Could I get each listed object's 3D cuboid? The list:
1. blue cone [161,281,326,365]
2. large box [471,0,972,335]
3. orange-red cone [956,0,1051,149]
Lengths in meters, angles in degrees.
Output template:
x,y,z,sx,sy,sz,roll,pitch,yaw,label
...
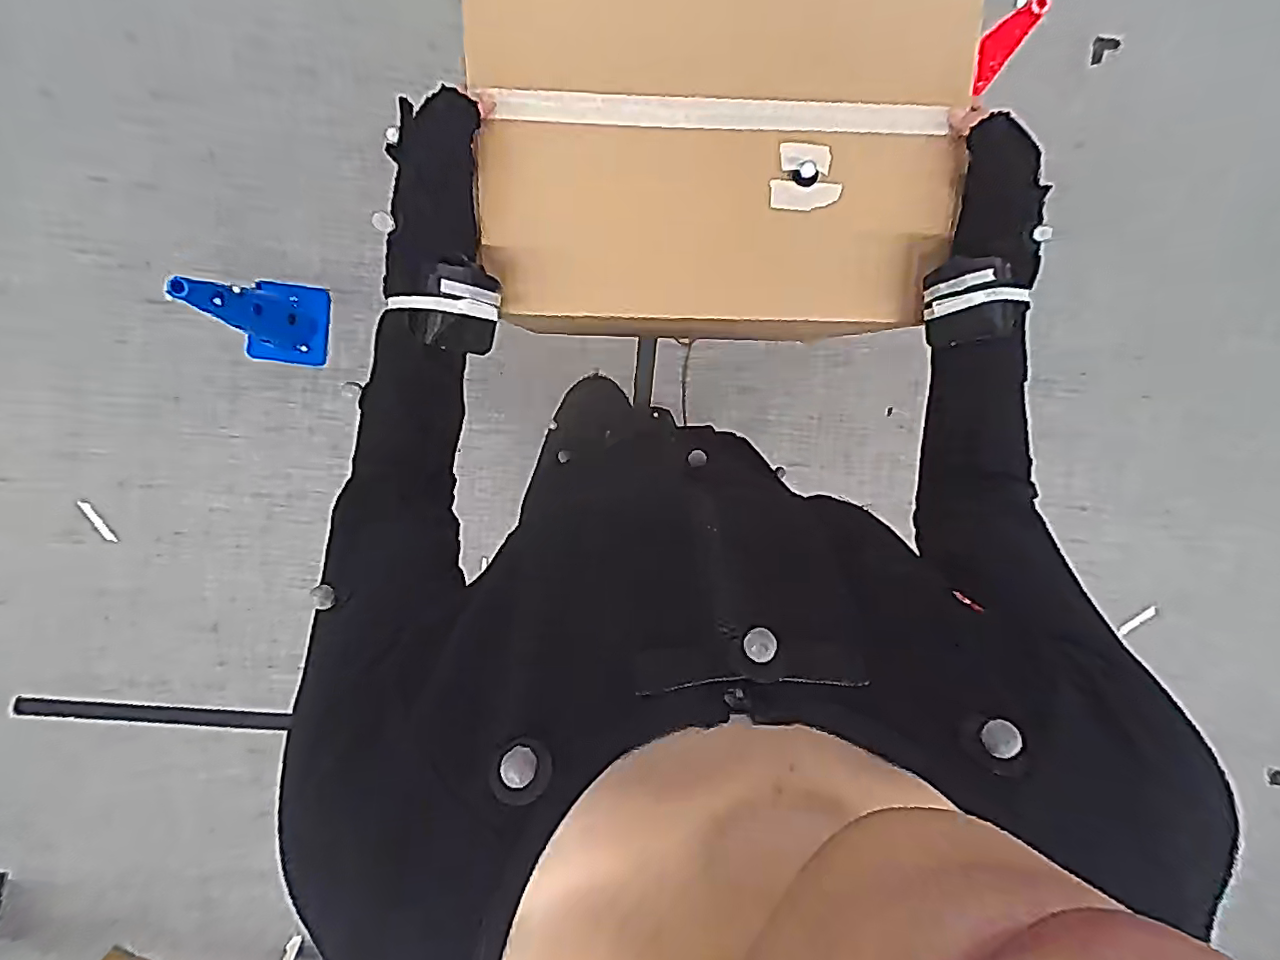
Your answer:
x,y,z,sx,sy,sz,roll,pitch,yaw,label
-0.908,-0.385,1.236,0.192,0.380,0.193,8,94,-2,blue cone
0.058,-0.328,0.585,0.408,0.320,0.320,0,102,-4,large box
0.785,-0.964,1.243,0.198,0.360,0.199,2,94,-4,orange-red cone
